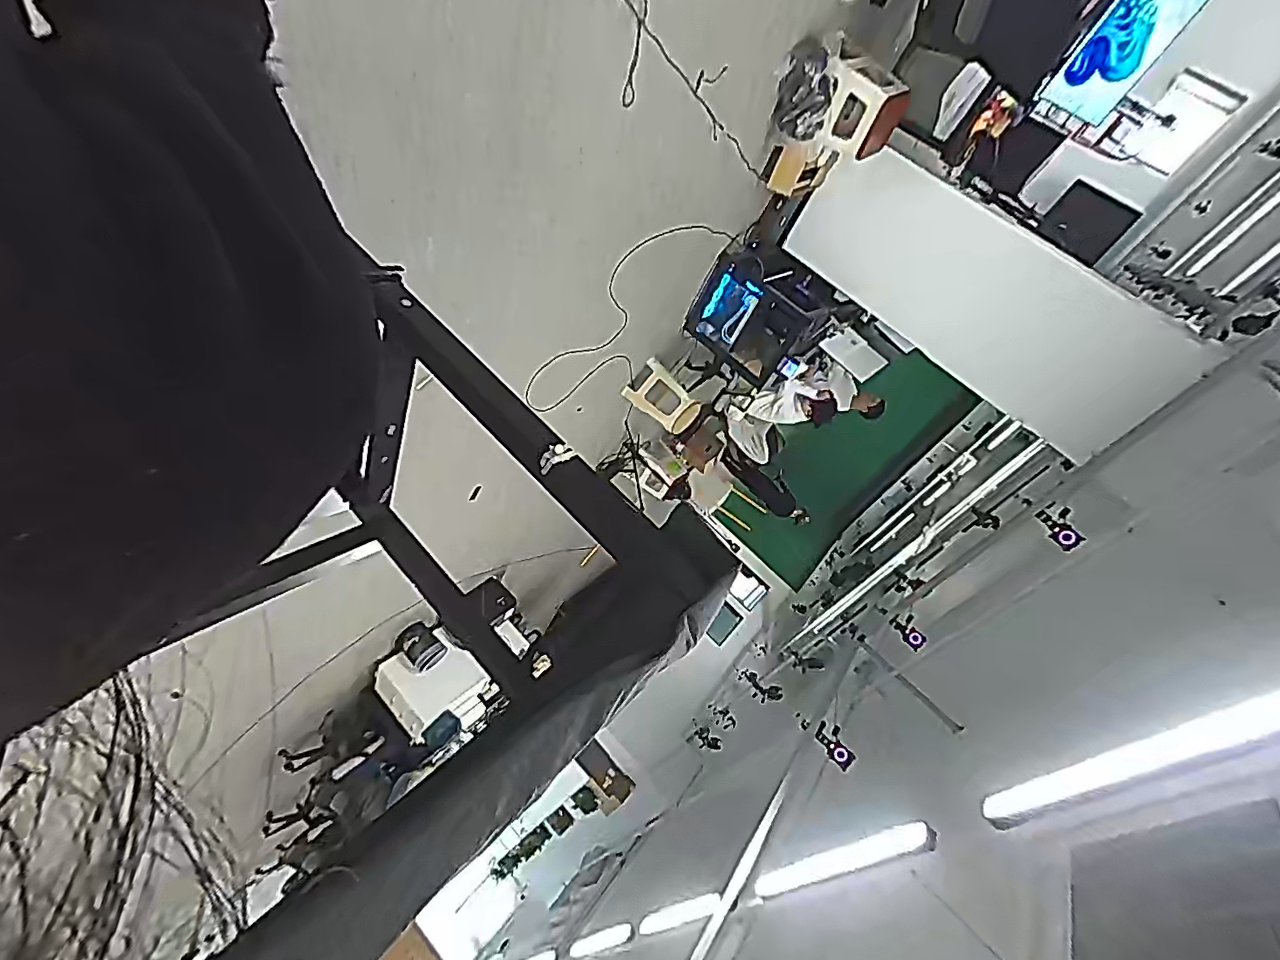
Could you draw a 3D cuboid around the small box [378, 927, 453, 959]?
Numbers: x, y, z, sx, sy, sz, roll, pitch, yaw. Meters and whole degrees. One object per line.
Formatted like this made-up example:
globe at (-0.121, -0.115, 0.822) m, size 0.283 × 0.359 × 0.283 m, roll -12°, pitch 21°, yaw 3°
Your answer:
small box at (-0.187, 0.469, 0.383) m, size 0.168 × 0.176 × 0.179 m, roll -30°, pitch 160°, yaw -50°
